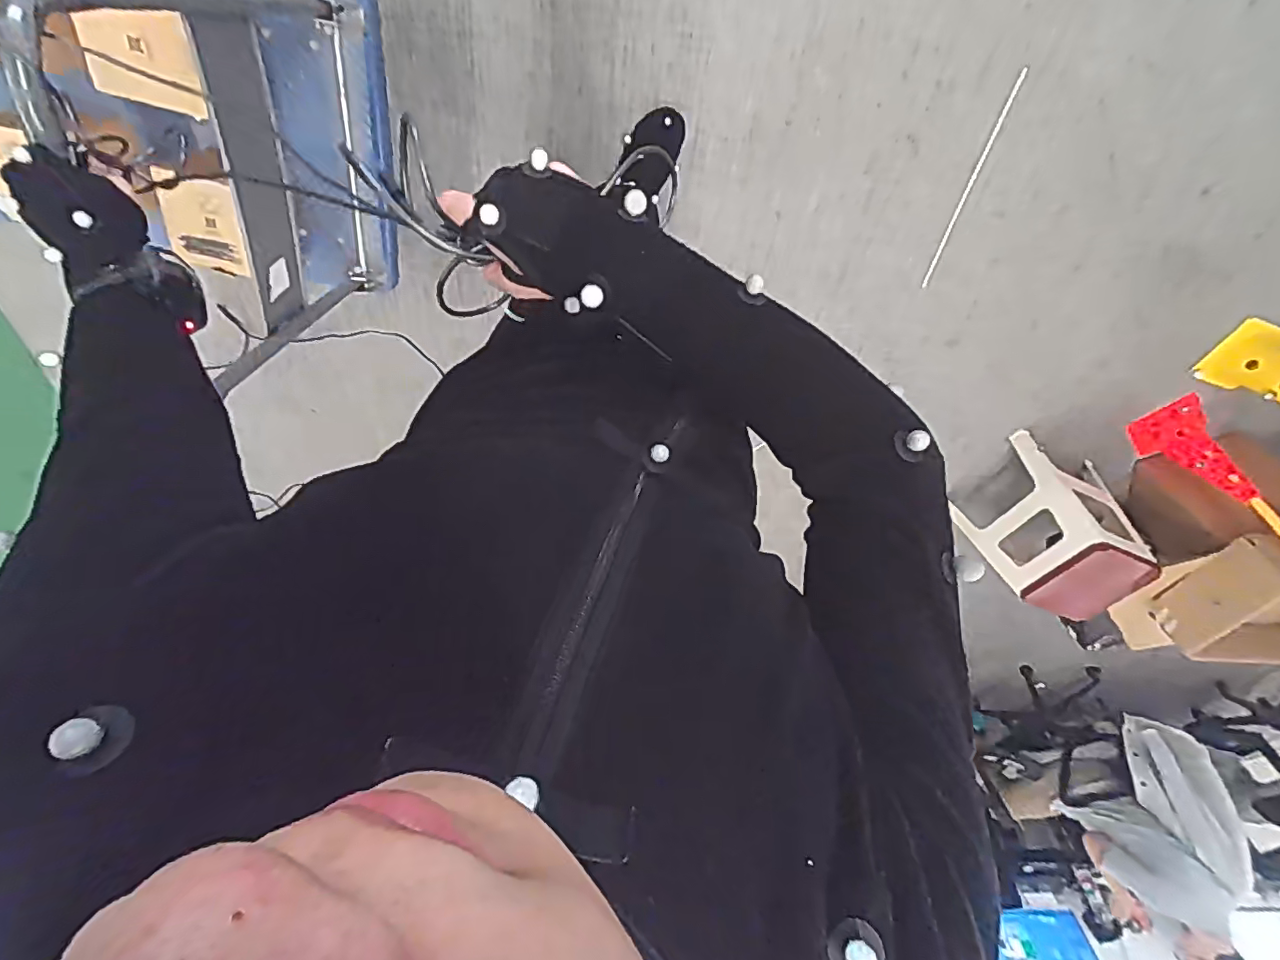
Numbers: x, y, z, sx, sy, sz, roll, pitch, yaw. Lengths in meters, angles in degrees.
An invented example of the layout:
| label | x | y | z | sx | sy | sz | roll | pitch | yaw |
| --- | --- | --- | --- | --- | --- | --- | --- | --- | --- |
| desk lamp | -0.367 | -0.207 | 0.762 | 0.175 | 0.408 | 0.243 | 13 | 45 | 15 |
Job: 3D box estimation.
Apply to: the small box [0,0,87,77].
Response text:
| label | x | y | z | sx | sy | sz | roll | pitch | yaw |
| --- | --- | --- | --- | --- | --- | --- | --- | --- | --- |
| small box | -1.039 | -0.778 | 0.874 | 0.179 | 0.176 | 0.168 | 6 | 132 | -8 |

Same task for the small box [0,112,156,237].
| label | x | y | z | sx | sy | sz | roll | pitch | yaw |
| --- | --- | --- | --- | --- | --- | --- | --- | --- | --- |
| small box | -1.093 | -0.591 | 1.041 | 0.179 | 0.176 | 0.168 | 6 | 131 | -7 |

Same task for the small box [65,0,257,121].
| label | x | y | z | sx | sy | sz | roll | pitch | yaw |
| --- | --- | --- | --- | --- | --- | --- | --- | --- | --- |
| small box | -0.800 | -0.739 | 0.919 | 0.179 | 0.176 | 0.168 | 9 | 131 | -10 |
